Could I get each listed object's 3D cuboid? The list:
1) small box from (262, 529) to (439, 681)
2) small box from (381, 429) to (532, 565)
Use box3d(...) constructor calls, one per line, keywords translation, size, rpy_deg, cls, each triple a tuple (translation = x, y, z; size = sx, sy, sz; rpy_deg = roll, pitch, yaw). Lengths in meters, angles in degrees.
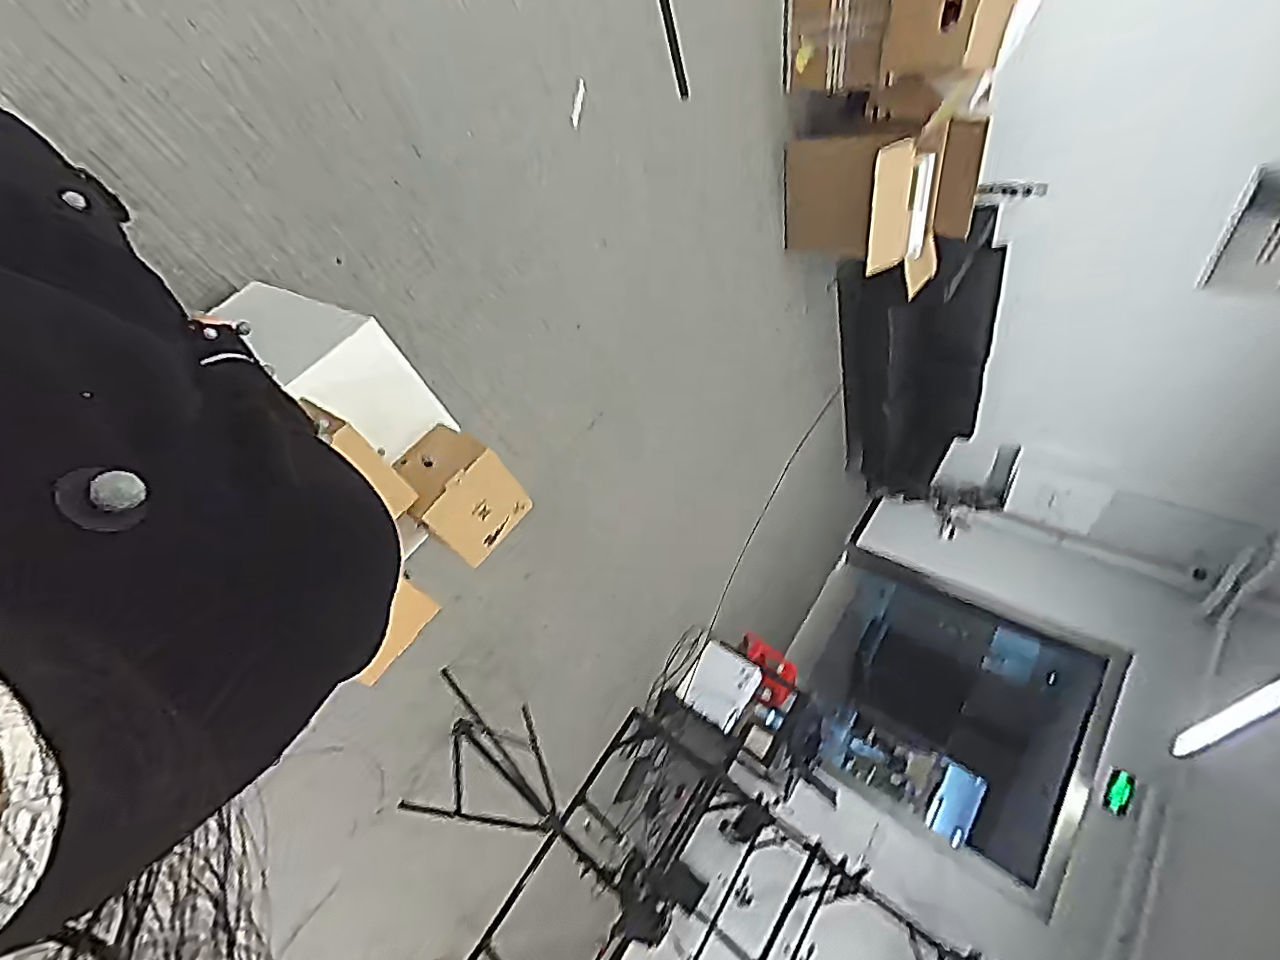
box3d(translation=(-0.493, 0.204, 0.925), size=(0.168, 0.176, 0.179), rpy_deg=(-50, 141, -22), cls="small box")
box3d(translation=(-0.344, 0.023, 1.014), size=(0.168, 0.176, 0.179), rpy_deg=(-49, 140, -21), cls="small box")
